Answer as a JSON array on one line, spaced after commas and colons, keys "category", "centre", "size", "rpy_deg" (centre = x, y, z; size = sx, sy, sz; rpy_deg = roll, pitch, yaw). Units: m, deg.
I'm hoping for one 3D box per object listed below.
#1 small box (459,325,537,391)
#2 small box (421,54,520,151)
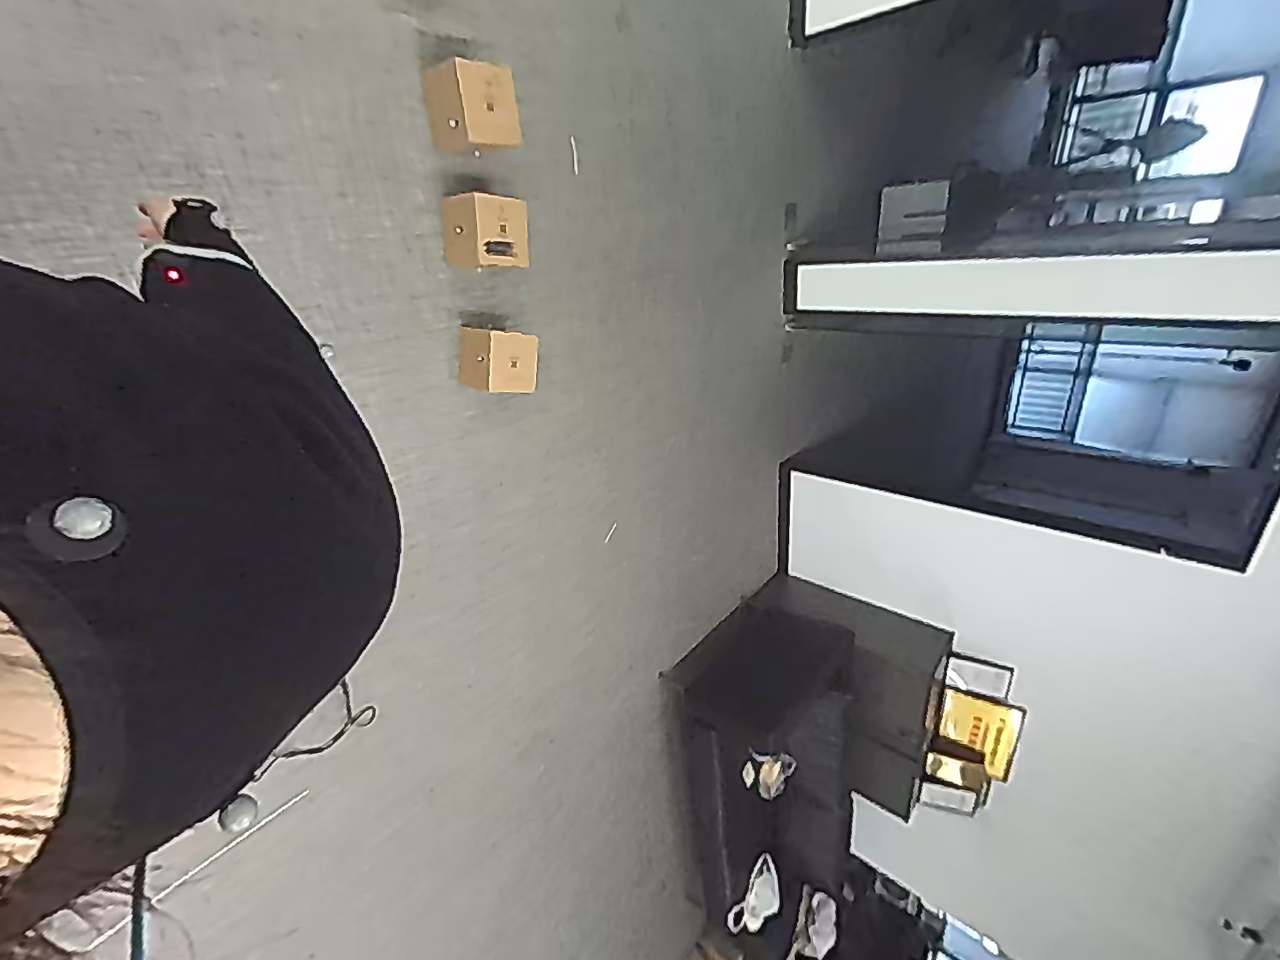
[{"category": "small box", "centre": [-0.431, -0.370, 1.633], "size": [0.168, 0.176, 0.179], "rpy_deg": [-9, 111, -48]}, {"category": "small box", "centre": [-0.438, -0.967, 1.402], "size": [0.168, 0.176, 0.179], "rpy_deg": [-29, 124, -42]}]
